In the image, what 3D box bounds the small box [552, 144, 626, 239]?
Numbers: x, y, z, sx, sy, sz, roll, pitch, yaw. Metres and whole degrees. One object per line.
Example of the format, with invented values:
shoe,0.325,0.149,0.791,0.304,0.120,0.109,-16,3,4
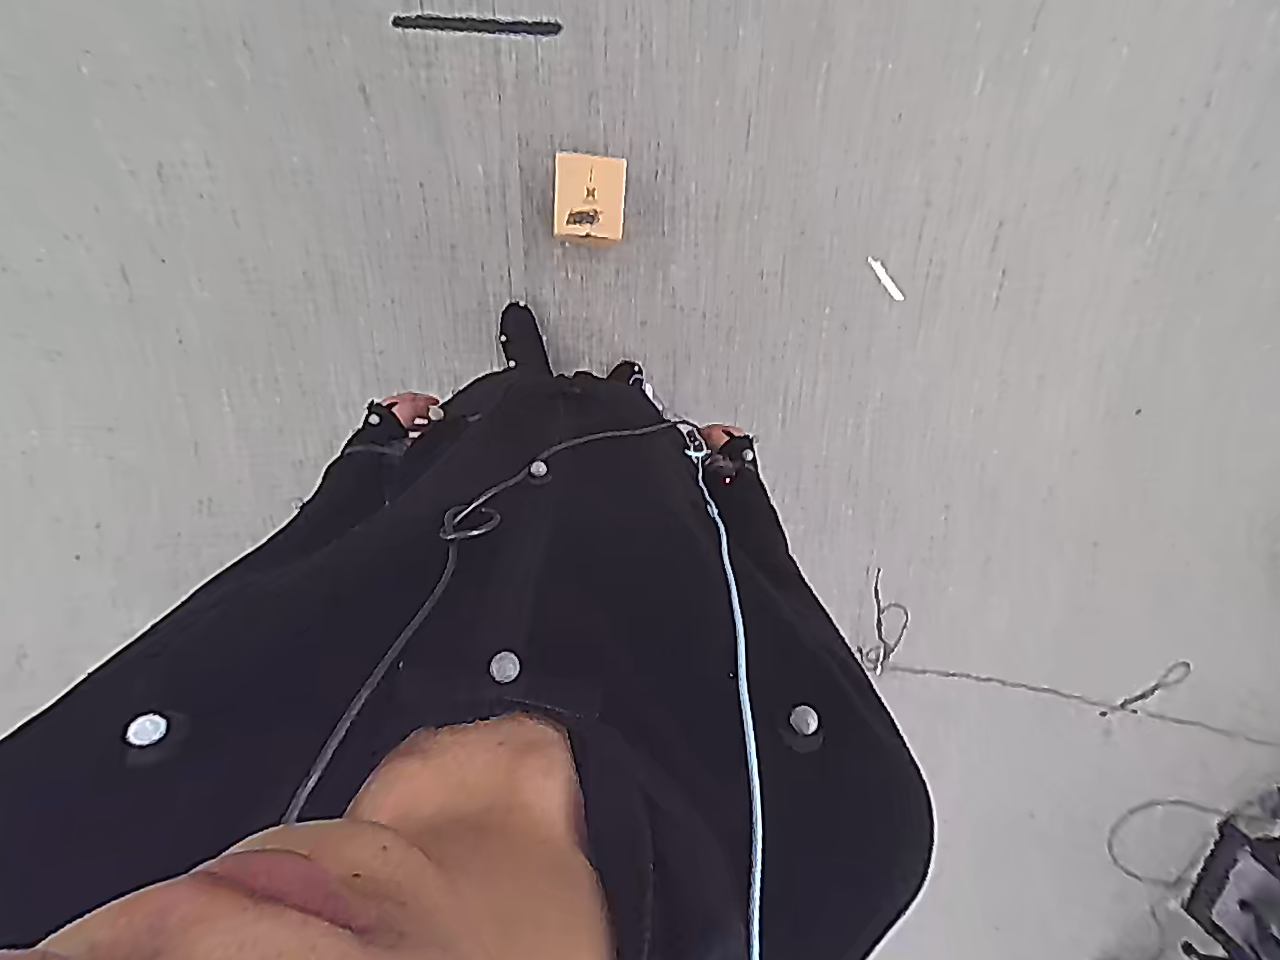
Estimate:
small box,-0.129,-0.702,1.337,0.168,0.176,0.179,2,108,-8
